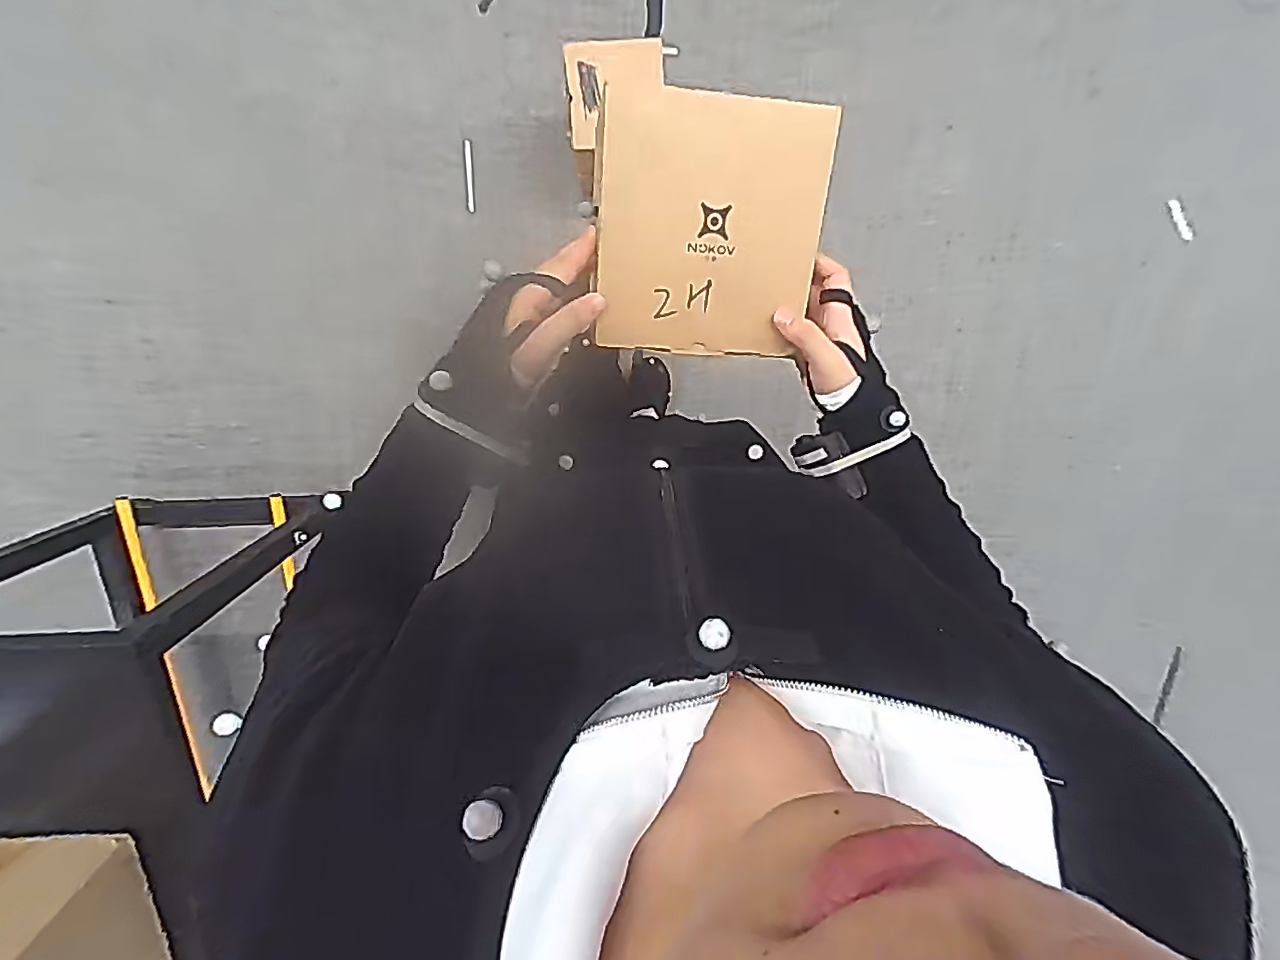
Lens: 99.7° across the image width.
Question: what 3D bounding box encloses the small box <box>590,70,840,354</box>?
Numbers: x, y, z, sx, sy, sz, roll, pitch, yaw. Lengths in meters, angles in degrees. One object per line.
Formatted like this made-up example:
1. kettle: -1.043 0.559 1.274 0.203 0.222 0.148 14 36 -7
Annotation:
1. small box: 0.044 -0.214 0.466 0.168 0.176 0.179 1 113 -7

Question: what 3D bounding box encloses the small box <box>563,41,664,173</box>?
1. small box: -0.047 -0.700 1.034 0.179 0.176 0.168 -5 107 -3
